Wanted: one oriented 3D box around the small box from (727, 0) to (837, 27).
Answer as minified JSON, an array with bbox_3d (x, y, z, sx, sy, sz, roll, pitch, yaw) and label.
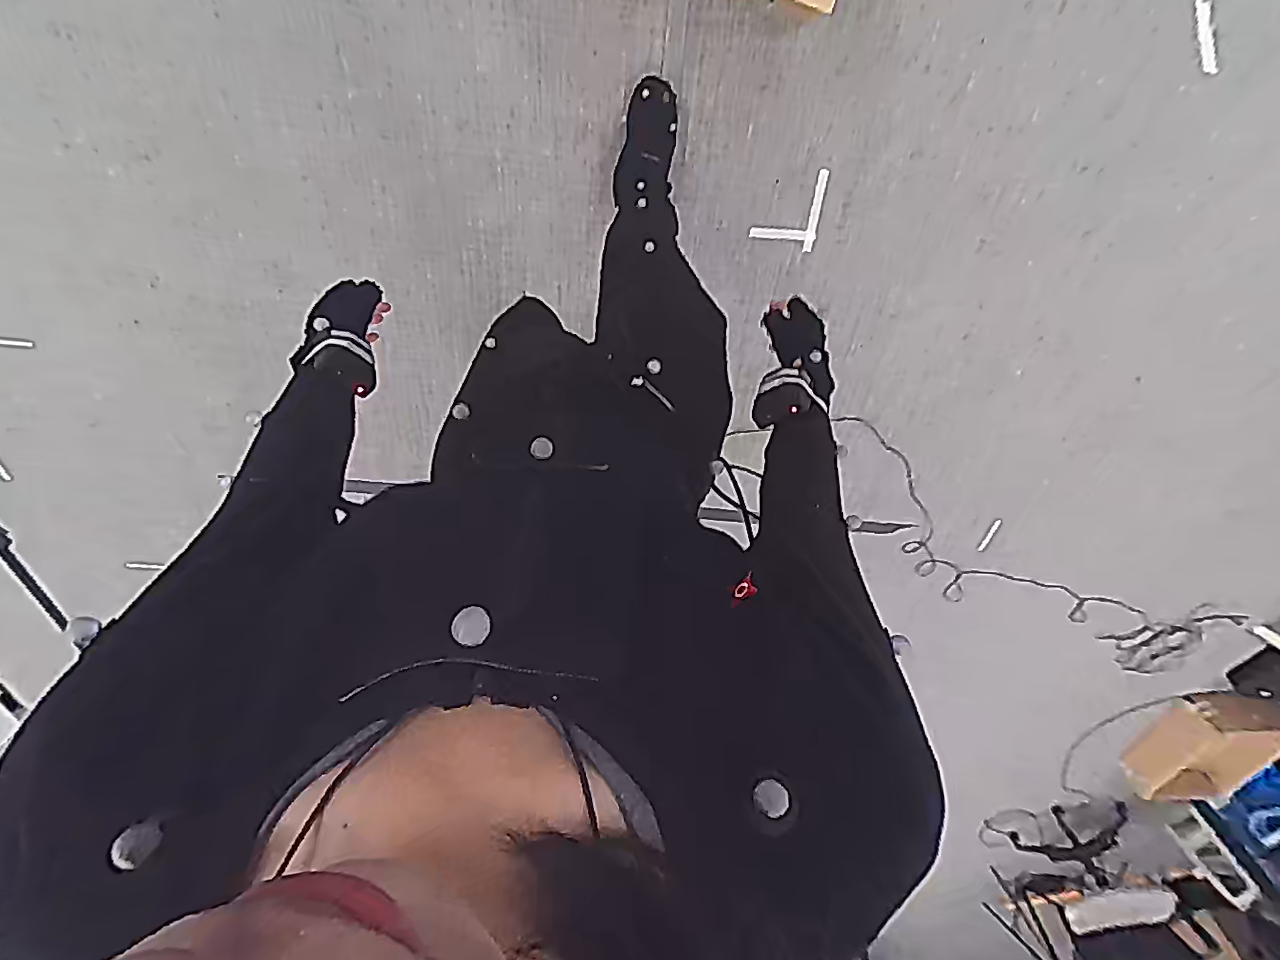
[{"bbox_3d":[0.261,-0.914,0.934,0.179,0.176,0.168,12,124,-11],"label":"small box"}]
